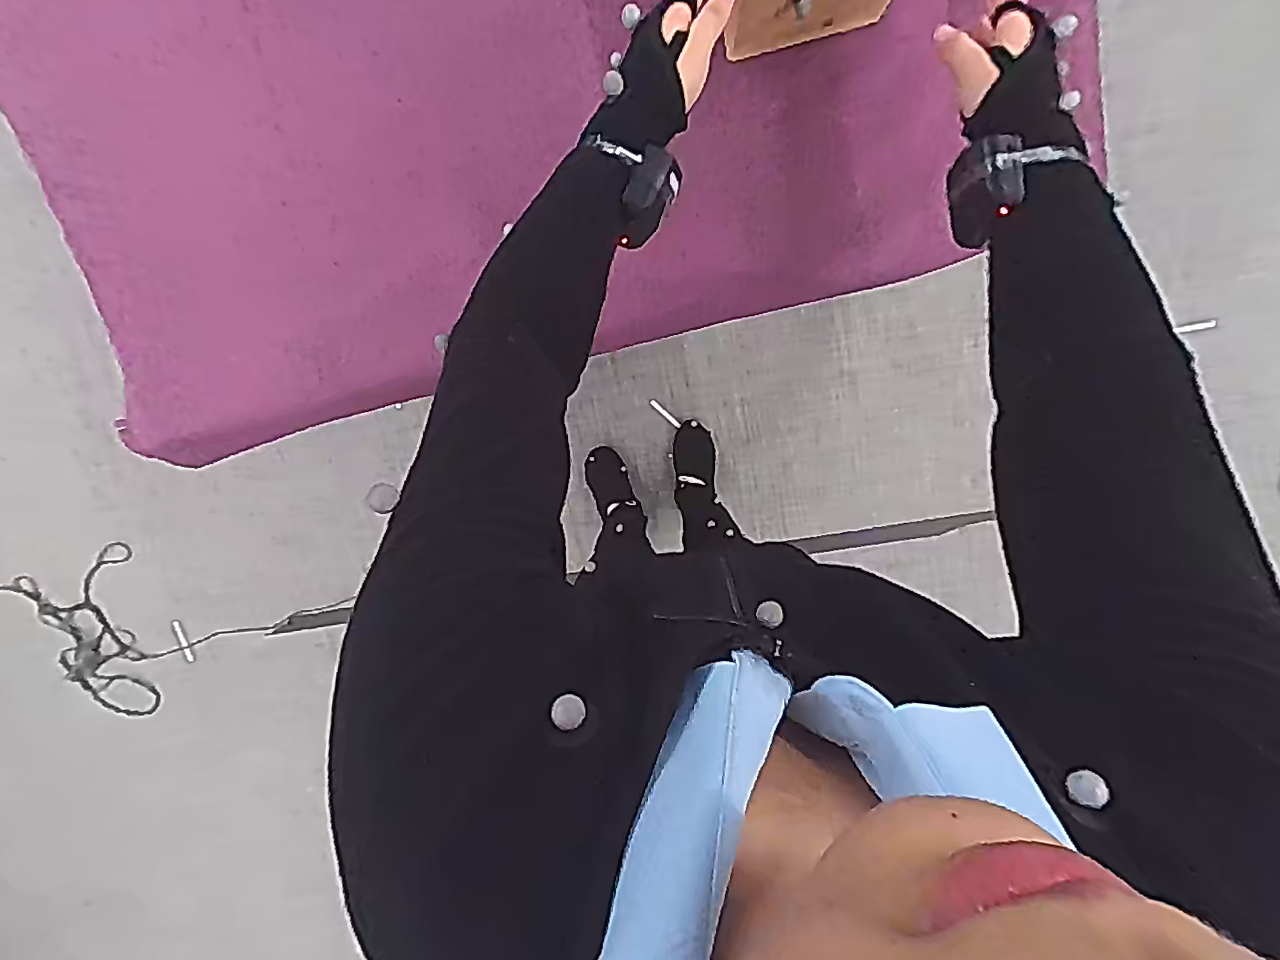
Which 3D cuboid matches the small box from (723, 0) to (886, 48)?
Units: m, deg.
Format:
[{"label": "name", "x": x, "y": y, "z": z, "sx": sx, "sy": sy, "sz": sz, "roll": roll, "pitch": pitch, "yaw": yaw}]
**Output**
[{"label": "small box", "x": 0.161, "y": -0.547, "z": 0.503, "sx": 0.168, "sy": 0.176, "sz": 0.179, "roll": -11, "pitch": 102, "yaw": 6}]
